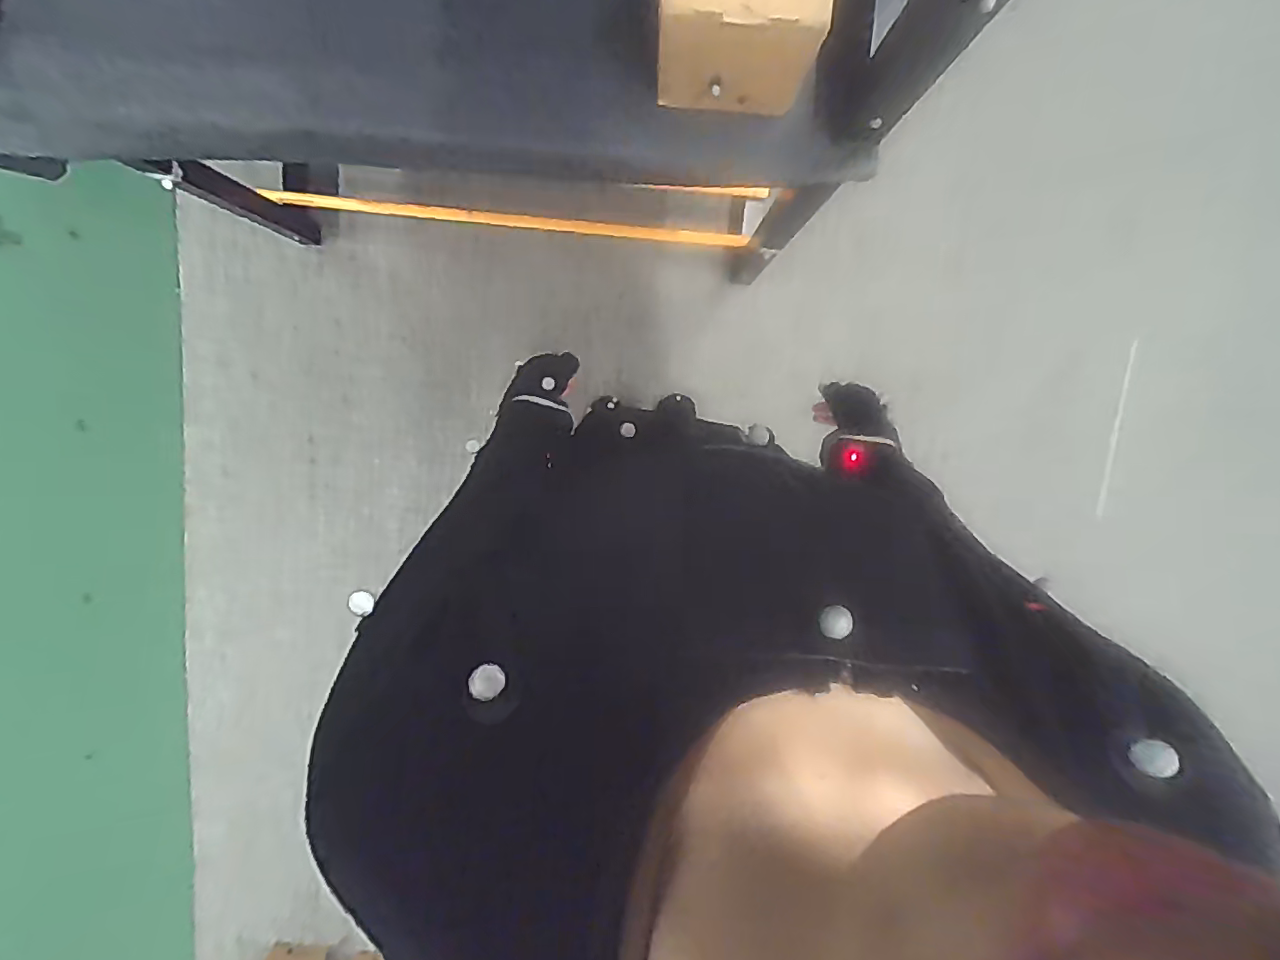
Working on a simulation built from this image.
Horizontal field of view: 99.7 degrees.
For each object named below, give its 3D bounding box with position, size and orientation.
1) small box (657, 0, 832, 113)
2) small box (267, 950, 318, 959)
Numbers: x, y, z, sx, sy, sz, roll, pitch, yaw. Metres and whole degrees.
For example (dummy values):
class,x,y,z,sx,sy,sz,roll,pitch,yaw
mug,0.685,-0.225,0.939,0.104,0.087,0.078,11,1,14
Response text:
class,x,y,z,sx,sy,sz,roll,pitch,yaw
small box,0.107,-0.537,0.579,0.168,0.176,0.179,5,98,0
small box,-1.084,1.571,1.626,0.168,0.176,0.179,7,98,1
